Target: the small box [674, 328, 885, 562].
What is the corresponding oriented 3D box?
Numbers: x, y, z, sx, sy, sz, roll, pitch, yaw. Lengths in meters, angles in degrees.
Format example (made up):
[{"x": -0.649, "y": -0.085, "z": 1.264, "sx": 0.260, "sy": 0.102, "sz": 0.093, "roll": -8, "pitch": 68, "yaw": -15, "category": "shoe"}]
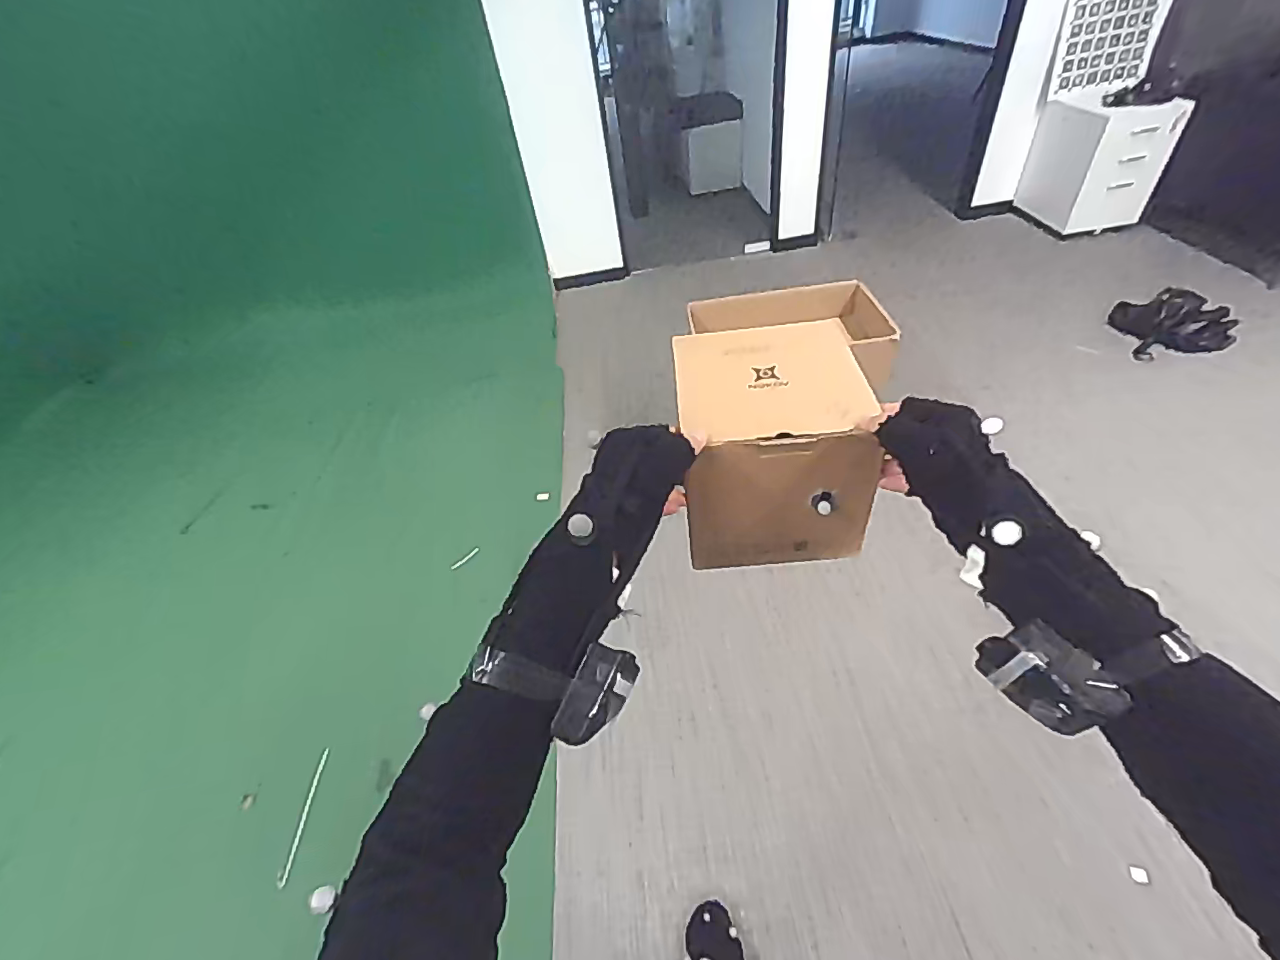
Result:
[{"x": 0.126, "y": -0.030, "z": 0.550, "sx": 0.168, "sy": 0.176, "sz": 0.179, "roll": -5, "pitch": 42, "yaw": 4, "category": "small box"}]
